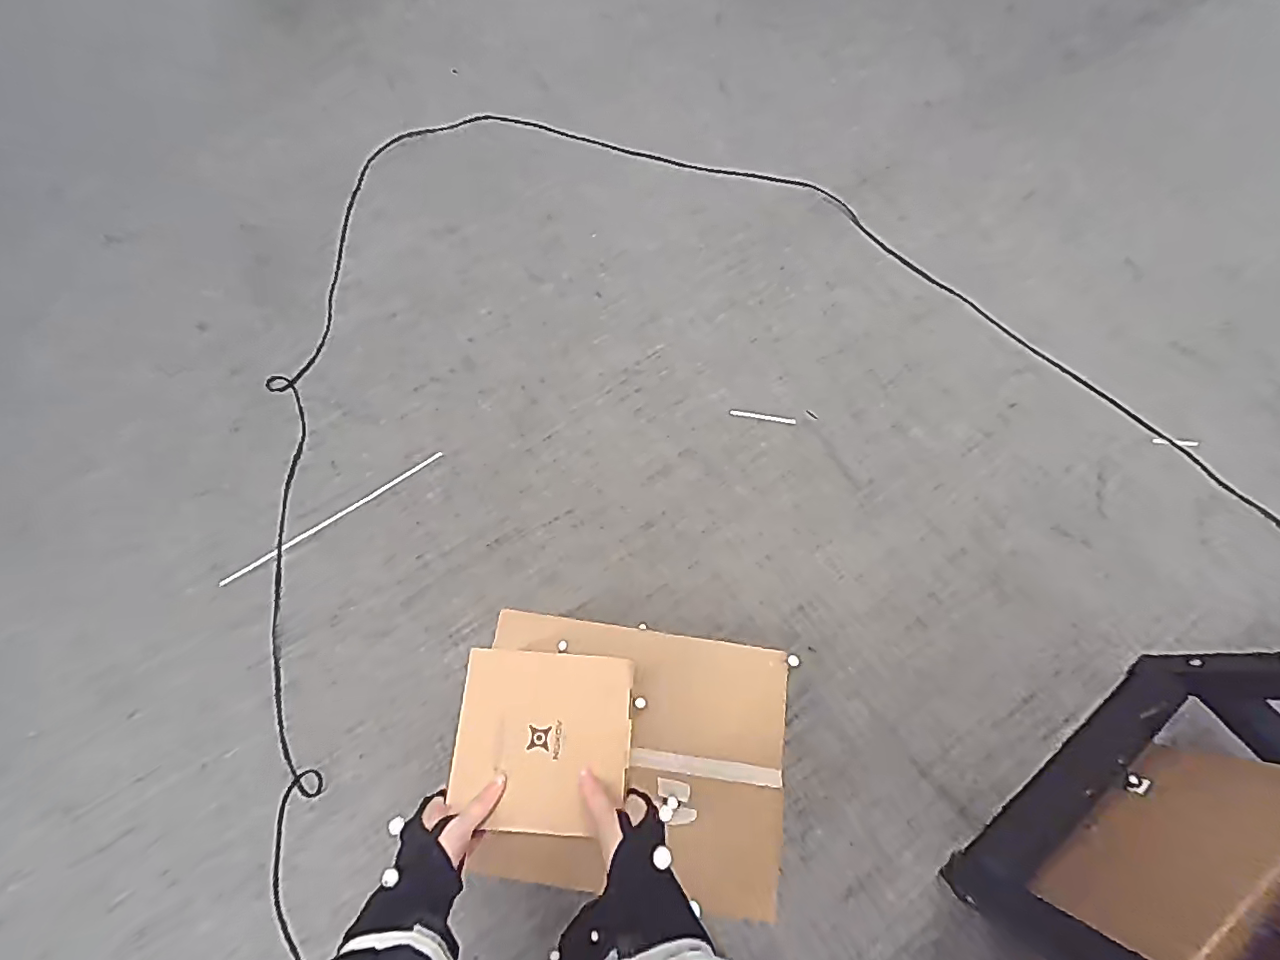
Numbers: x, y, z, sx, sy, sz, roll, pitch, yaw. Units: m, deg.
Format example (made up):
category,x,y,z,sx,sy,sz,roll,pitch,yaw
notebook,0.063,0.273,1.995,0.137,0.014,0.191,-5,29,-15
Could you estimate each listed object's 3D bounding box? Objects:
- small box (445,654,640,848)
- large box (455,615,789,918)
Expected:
category,x,y,z,sx,sy,sz,roll,pitch,yaw
small box,-0.094,0.293,0.613,0.179,0.176,0.168,4,69,1
large box,-0.015,0.404,0.838,0.408,0.320,0.320,8,72,2
